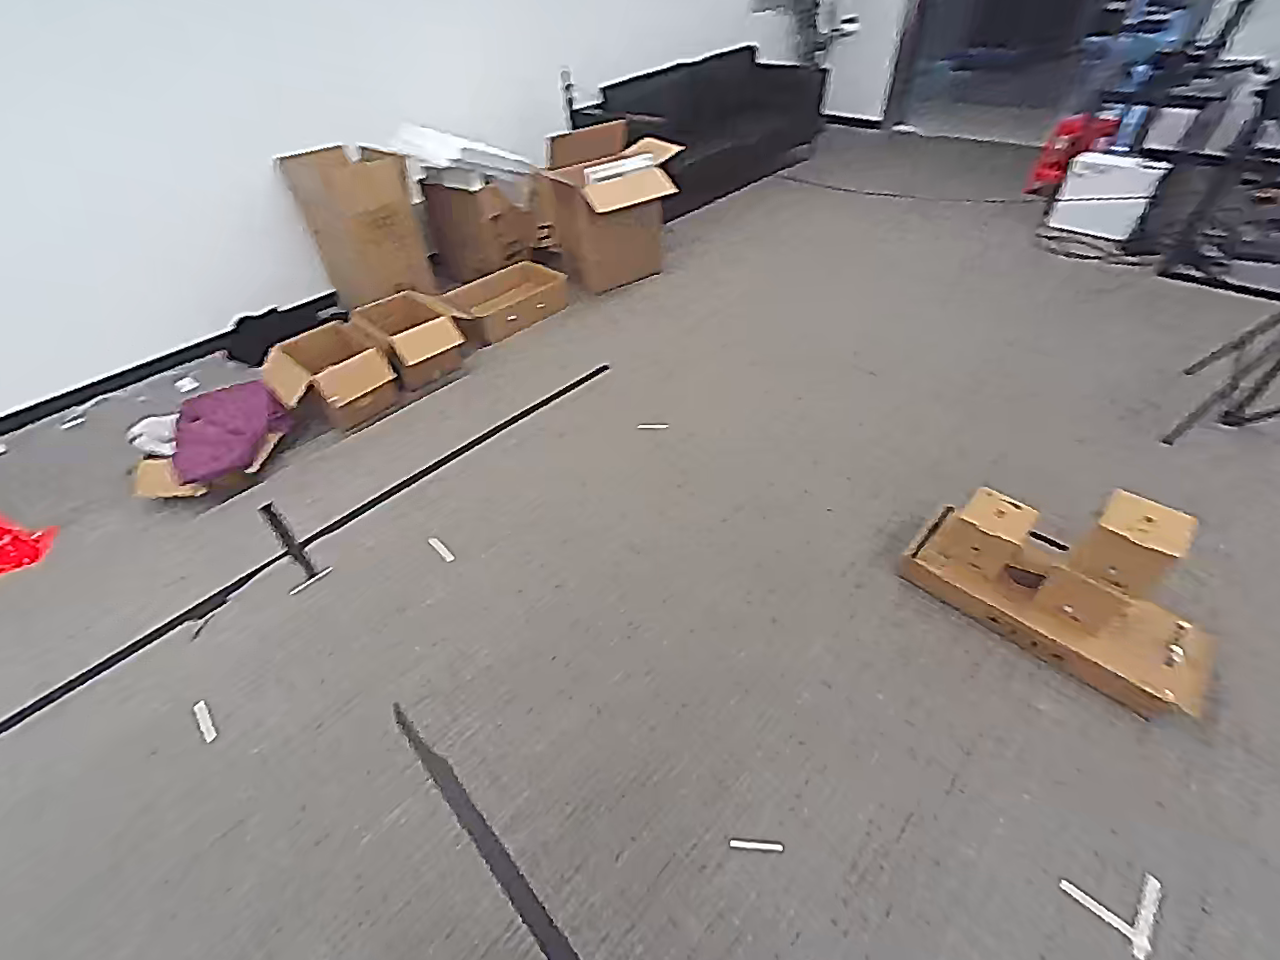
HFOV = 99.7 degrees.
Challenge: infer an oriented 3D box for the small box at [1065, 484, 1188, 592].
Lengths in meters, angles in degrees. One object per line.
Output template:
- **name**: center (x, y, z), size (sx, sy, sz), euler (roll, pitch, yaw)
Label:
- **small box**: center (1.234, 0.147, 1.383), size (0.168, 0.176, 0.179), euler (32, 55, 32)

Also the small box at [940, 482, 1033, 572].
- **small box**: center (1.039, 0.144, 1.636), size (0.179, 0.176, 0.168), euler (-37, 52, -27)

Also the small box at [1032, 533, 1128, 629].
- **small box**: center (1.230, 0.271, 1.494), size (0.179, 0.176, 0.168), euler (-35, 51, -26)
